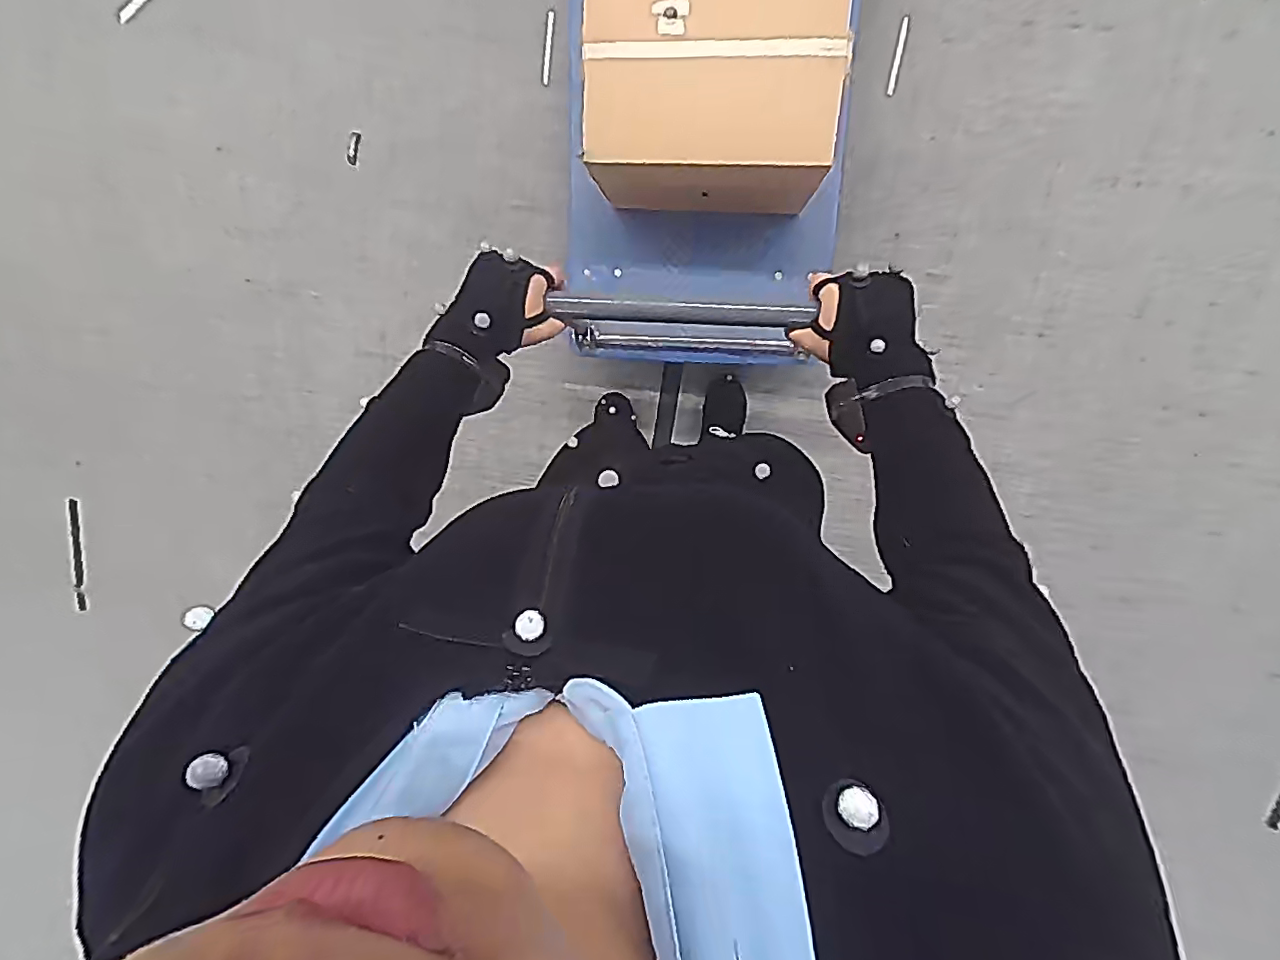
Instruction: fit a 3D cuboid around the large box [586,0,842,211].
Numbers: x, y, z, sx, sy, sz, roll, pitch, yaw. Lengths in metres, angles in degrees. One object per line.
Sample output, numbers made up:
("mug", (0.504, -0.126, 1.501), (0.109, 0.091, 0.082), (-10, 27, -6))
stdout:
("large box", (0.130, -0.699, 1.001), (0.408, 0.320, 0.320), (4, 103, 7))
